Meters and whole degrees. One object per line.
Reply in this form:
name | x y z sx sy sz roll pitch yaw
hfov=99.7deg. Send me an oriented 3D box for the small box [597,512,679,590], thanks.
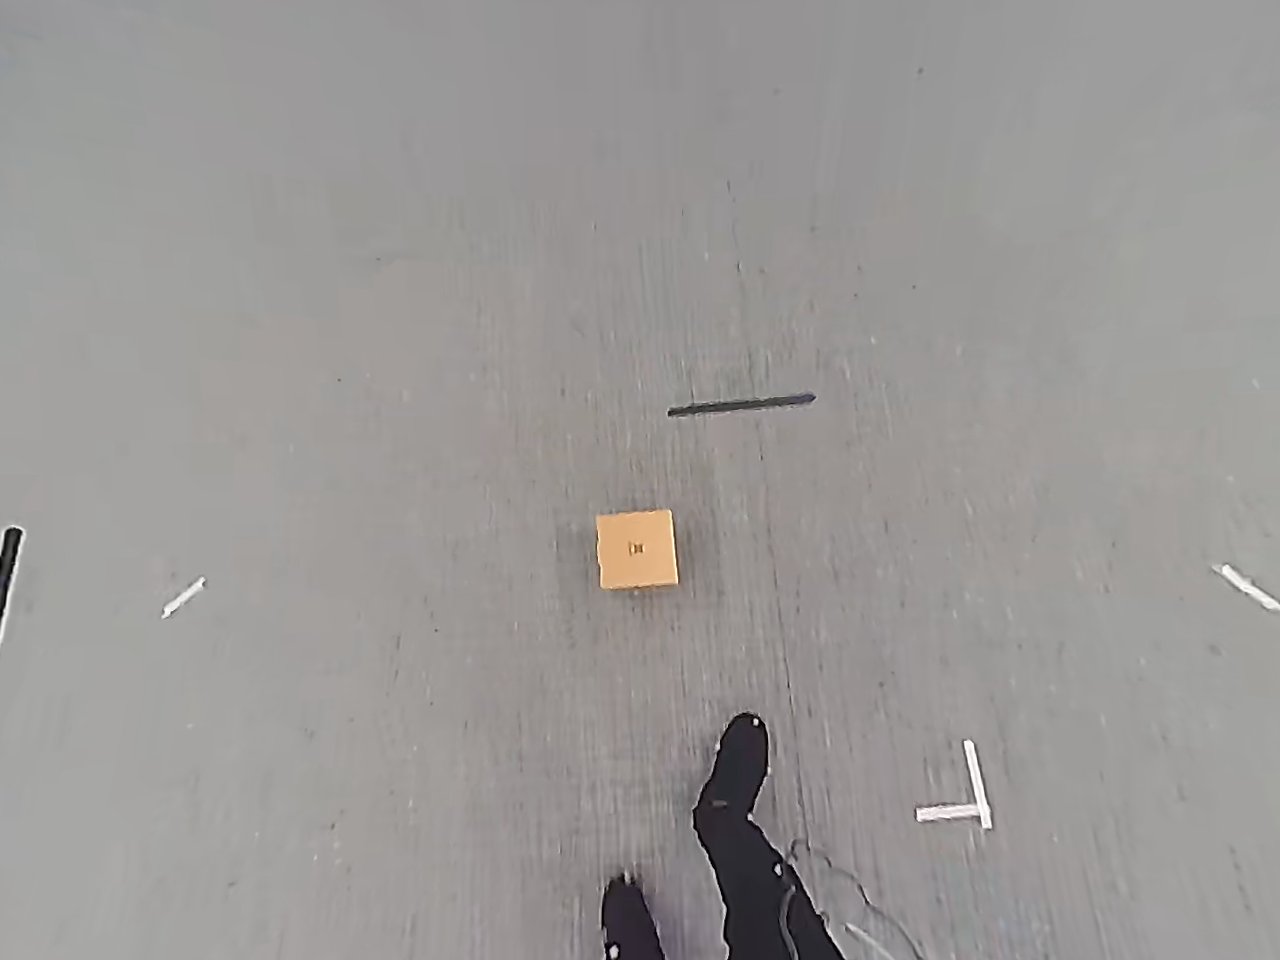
small box | -0.002 0.174 1.292 0.179 0.176 0.168 -6 76 3
